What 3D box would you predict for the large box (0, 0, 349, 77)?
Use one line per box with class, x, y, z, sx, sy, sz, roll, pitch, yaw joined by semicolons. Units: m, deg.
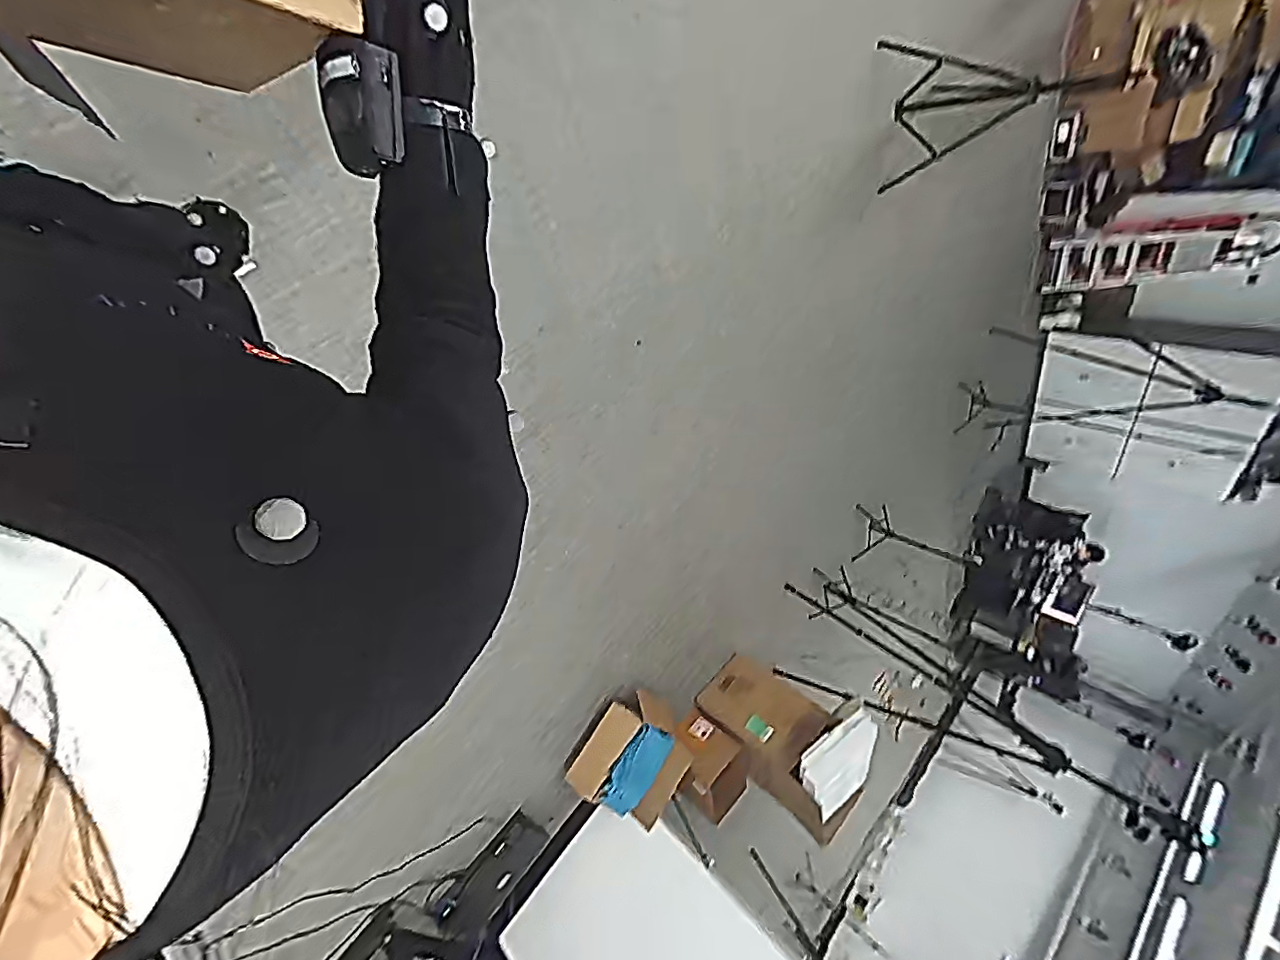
large box;-0.401;-0.422;0.224;0.408;0.320;0.320;-15;122;-42
